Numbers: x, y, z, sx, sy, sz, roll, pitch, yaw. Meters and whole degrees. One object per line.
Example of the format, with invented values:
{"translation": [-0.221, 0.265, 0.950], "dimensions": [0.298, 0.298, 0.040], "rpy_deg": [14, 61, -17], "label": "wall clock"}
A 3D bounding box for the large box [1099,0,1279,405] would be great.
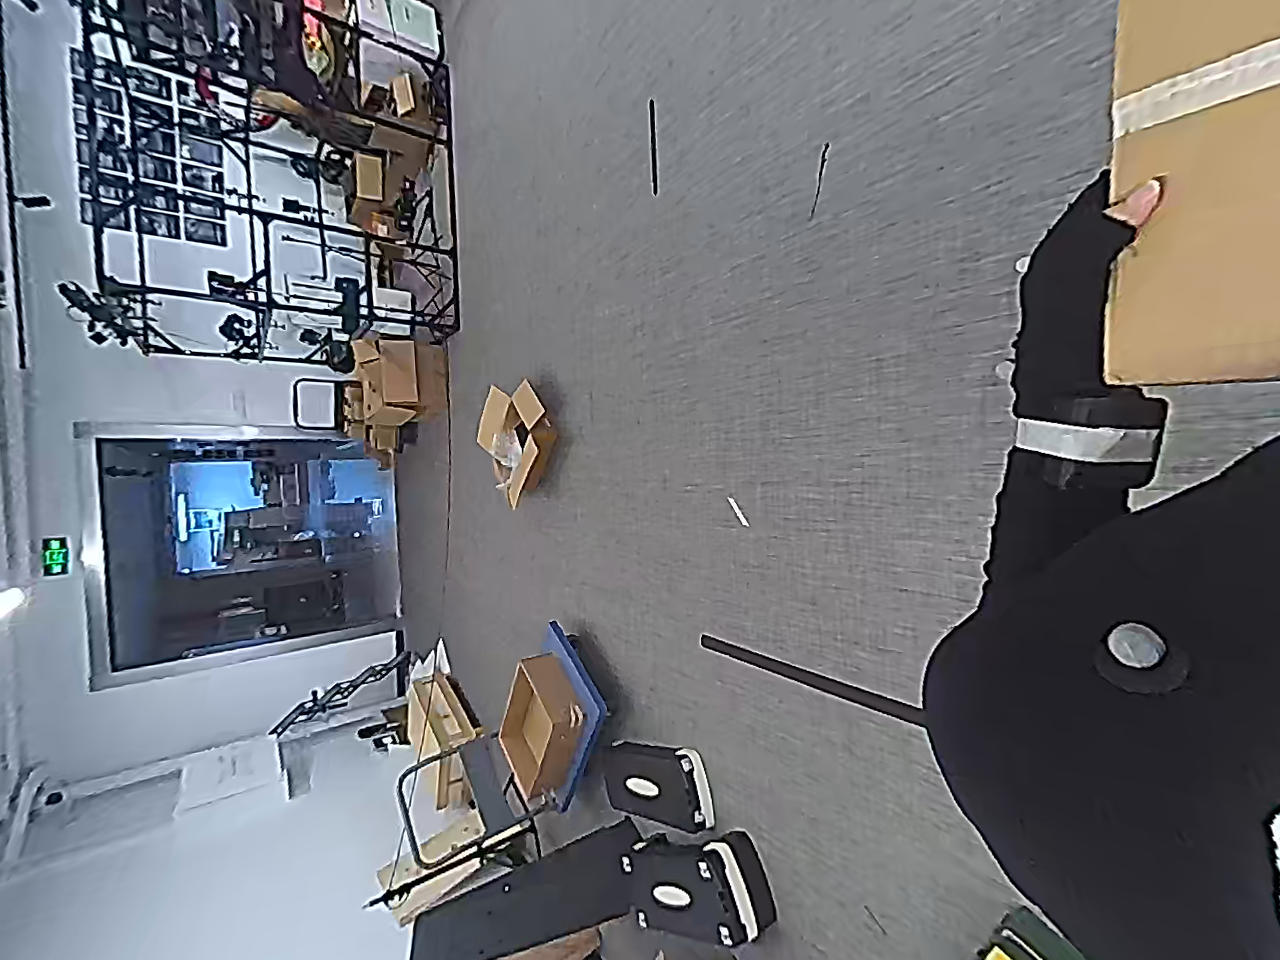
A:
{"translation": [0.522, -0.213, 0.252], "dimensions": [0.408, 0.320, 0.320], "rpy_deg": [7, 105, 56], "label": "large box"}
